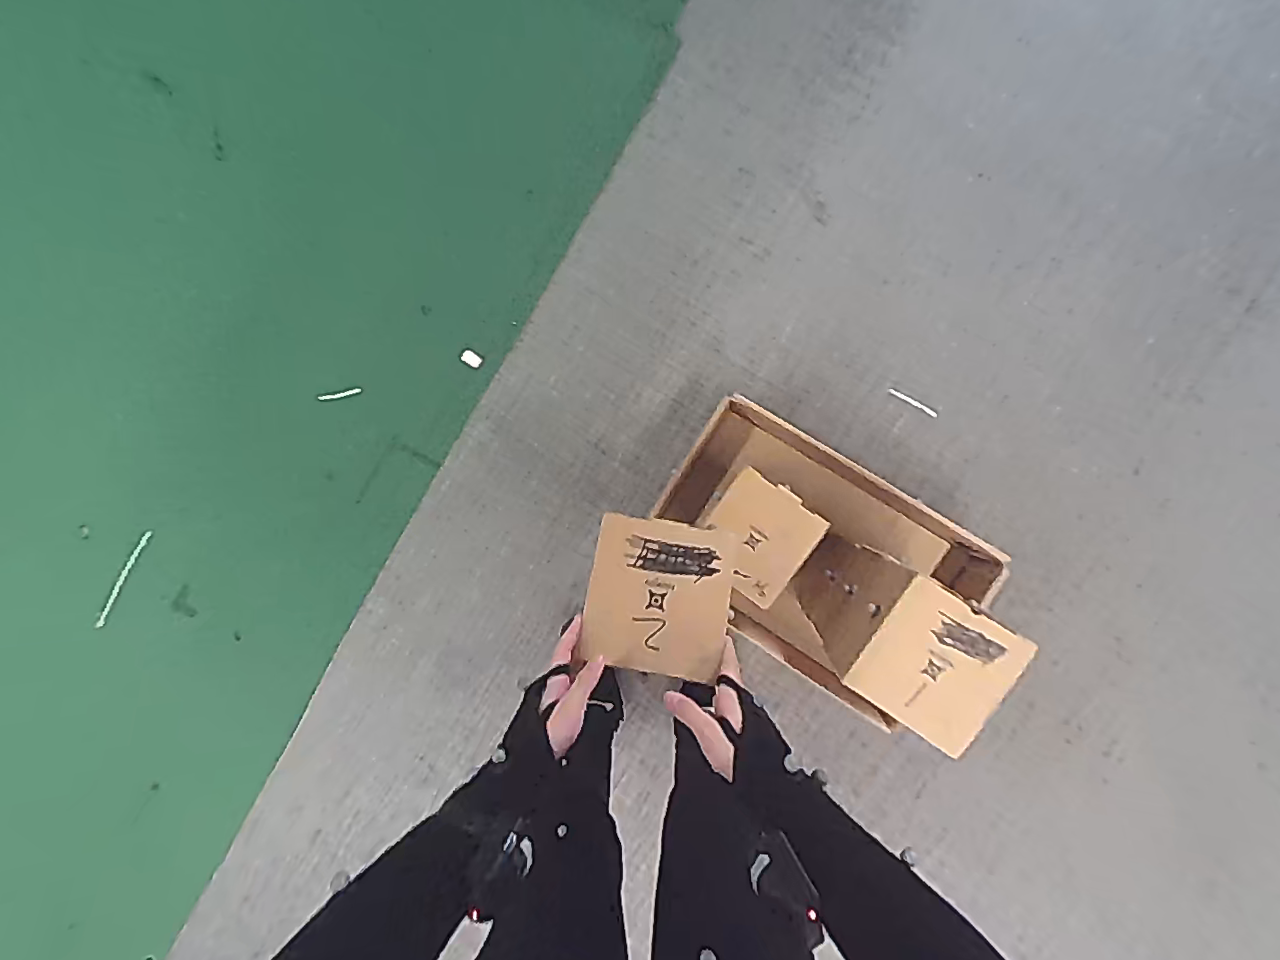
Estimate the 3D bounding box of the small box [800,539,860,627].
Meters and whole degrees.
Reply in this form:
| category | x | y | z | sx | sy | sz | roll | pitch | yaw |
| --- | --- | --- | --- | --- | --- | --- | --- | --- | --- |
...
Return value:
| category | x | y | z | sx | sy | sz | roll | pitch | yaw |
| --- | --- | --- | --- | --- | --- | --- | --- | --- | --- |
| small box | 0.442 | 0.238 | 1.096 | 0.168 | 0.176 | 0.179 | 33 | 94 | 7 |

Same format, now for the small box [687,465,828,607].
| category | x | y | z | sx | sy | sz | roll | pitch | yaw |
| --- | --- | --- | --- | --- | --- | --- | --- | --- | --- |
| small box | 0.199 | 0.092 | 0.962 | 0.168 | 0.176 | 0.179 | 37 | 94 | 7 |

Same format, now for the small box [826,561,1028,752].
| category | x | y | z | sx | sy | sz | roll | pitch | yaw |
| --- | --- | --- | --- | --- | --- | --- | --- | --- | --- |
| small box | 0.388 | 0.234 | 0.773 | 0.168 | 0.176 | 0.179 | 34 | 95 | 9 |

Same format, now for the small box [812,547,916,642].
| category | x | y | z | sx | sy | sz | roll | pitch | yaw |
| --- | --- | --- | --- | --- | --- | --- | --- | --- | --- |
| small box | 0.418 | 0.233 | 0.934 | 0.168 | 0.176 | 0.179 | 35 | 95 | 9 |
